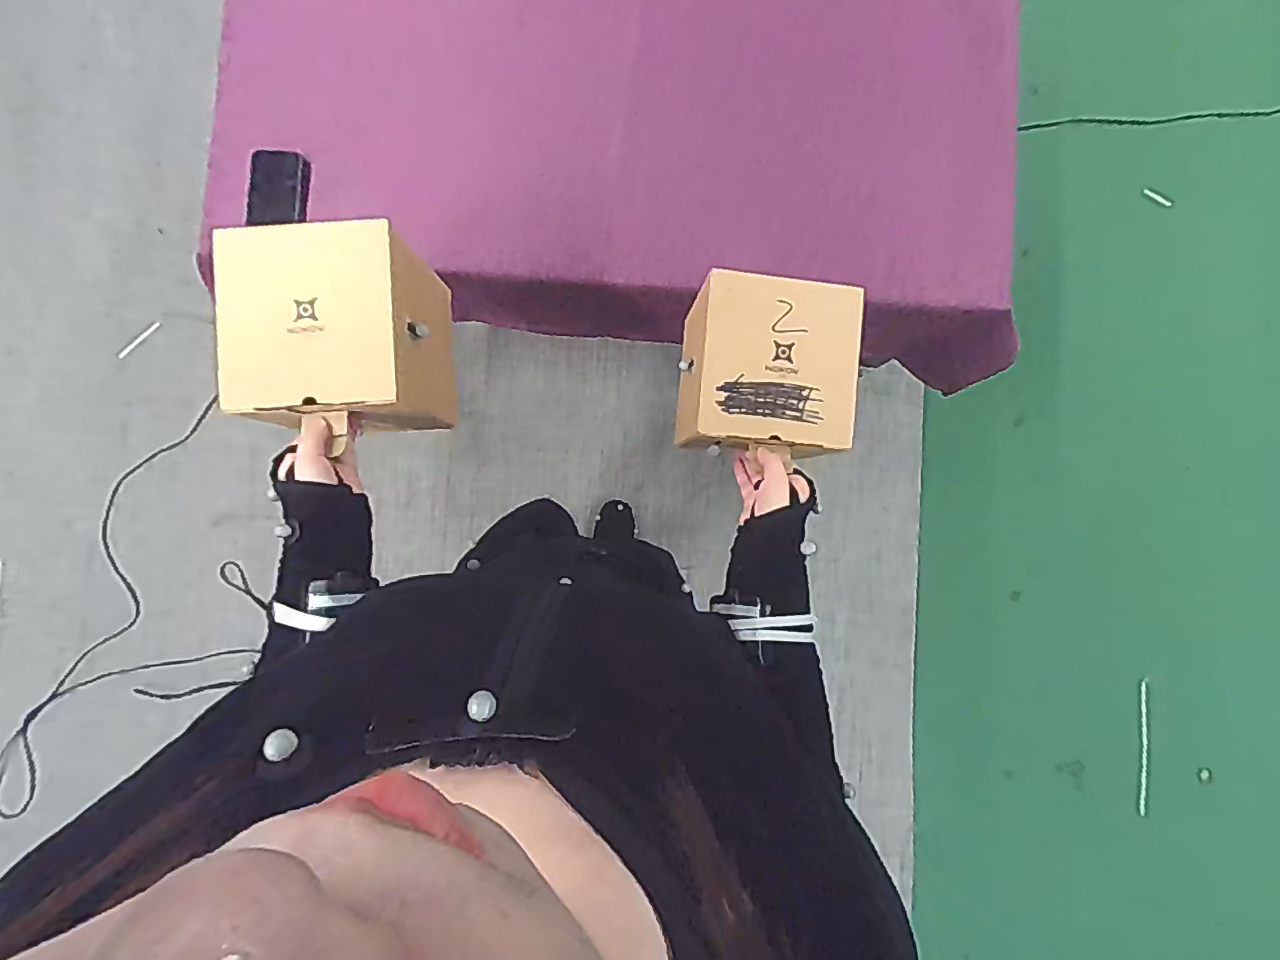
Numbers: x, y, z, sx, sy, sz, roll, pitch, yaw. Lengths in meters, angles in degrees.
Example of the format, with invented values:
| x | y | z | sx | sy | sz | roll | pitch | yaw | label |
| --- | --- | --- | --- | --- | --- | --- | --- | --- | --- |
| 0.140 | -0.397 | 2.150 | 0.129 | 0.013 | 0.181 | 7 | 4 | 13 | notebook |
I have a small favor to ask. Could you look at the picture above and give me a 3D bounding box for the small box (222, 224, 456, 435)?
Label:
| x | y | z | sx | sy | sz | roll | pitch | yaw | label |
| --- | --- | --- | --- | --- | --- | --- | --- | --- | --- |
| -0.306 | -0.148 | 0.583 | 0.168 | 0.176 | 0.179 | -3 | 88 | -2 | small box |
